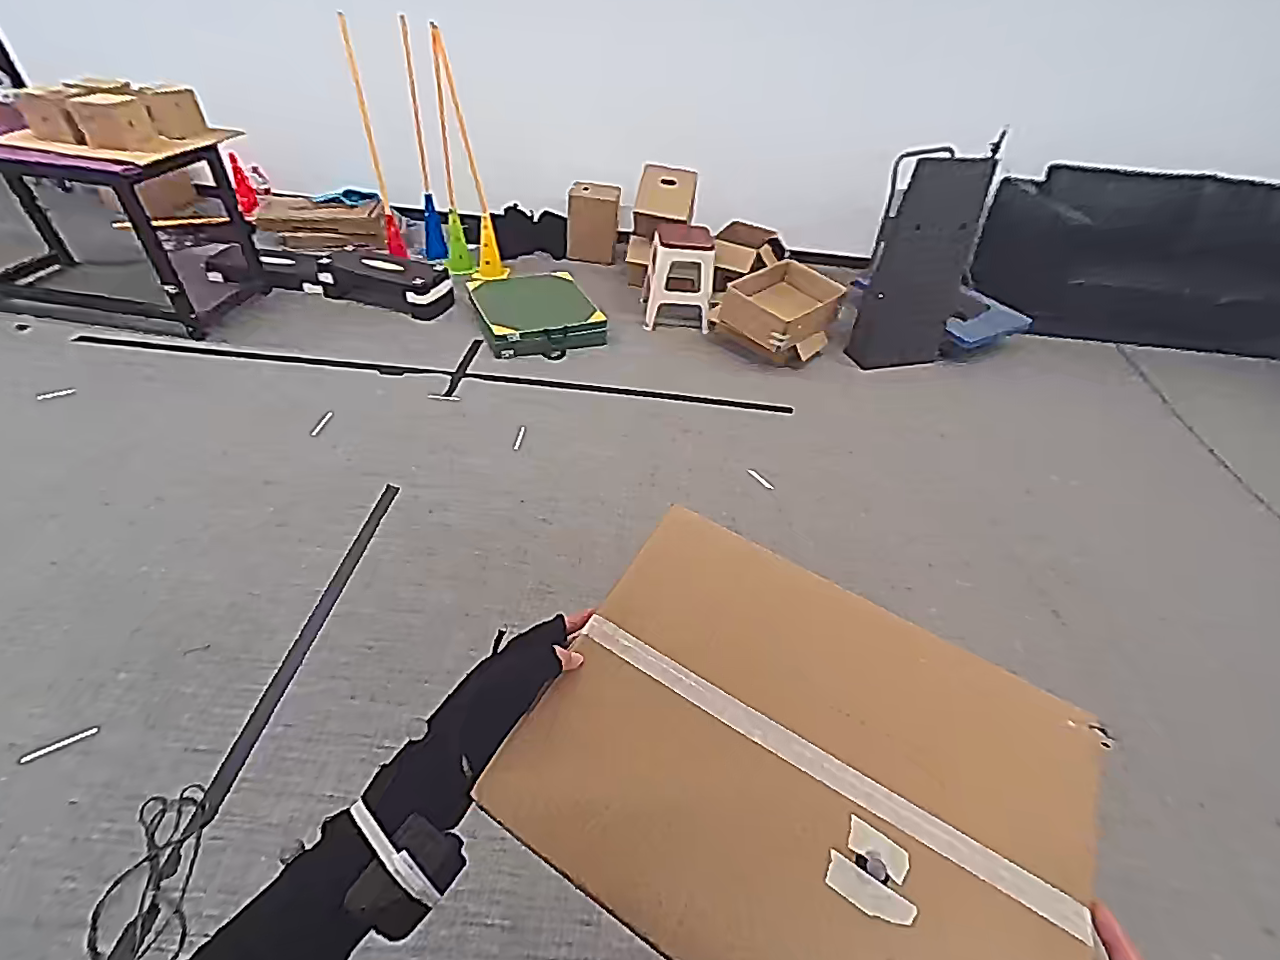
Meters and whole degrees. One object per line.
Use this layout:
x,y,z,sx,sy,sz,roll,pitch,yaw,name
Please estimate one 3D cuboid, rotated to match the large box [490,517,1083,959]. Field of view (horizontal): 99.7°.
0.122,0.310,0.552,0.408,0.320,0.320,27,57,17,large box
